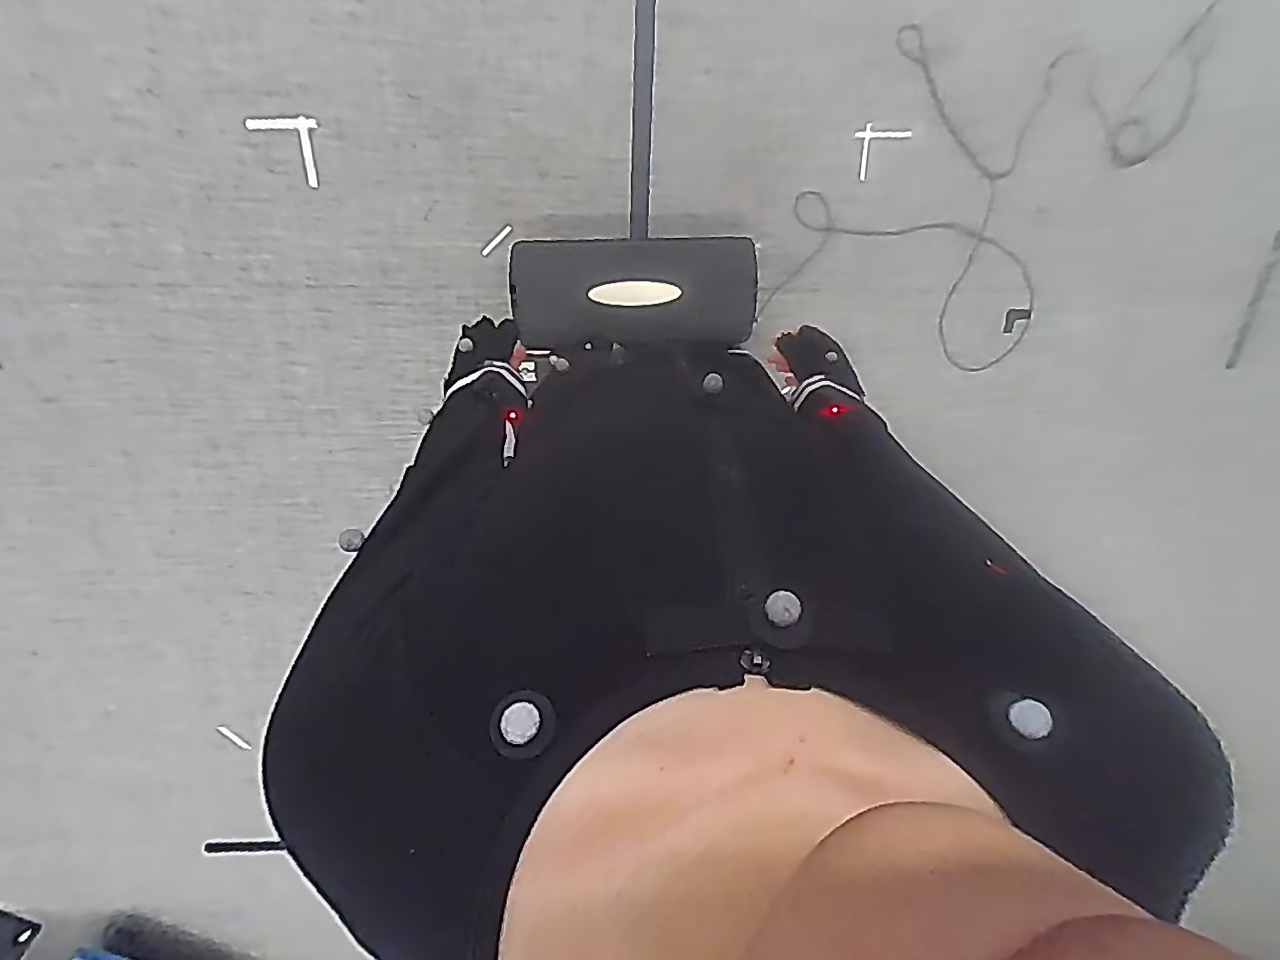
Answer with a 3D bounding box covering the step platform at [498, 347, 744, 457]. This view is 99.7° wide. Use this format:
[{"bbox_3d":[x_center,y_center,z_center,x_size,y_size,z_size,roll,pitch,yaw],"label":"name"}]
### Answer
[{"bbox_3d":[-0.050,-0.222,1.533,0.684,0.204,0.286,-1,108,-1],"label":"step platform"}]
